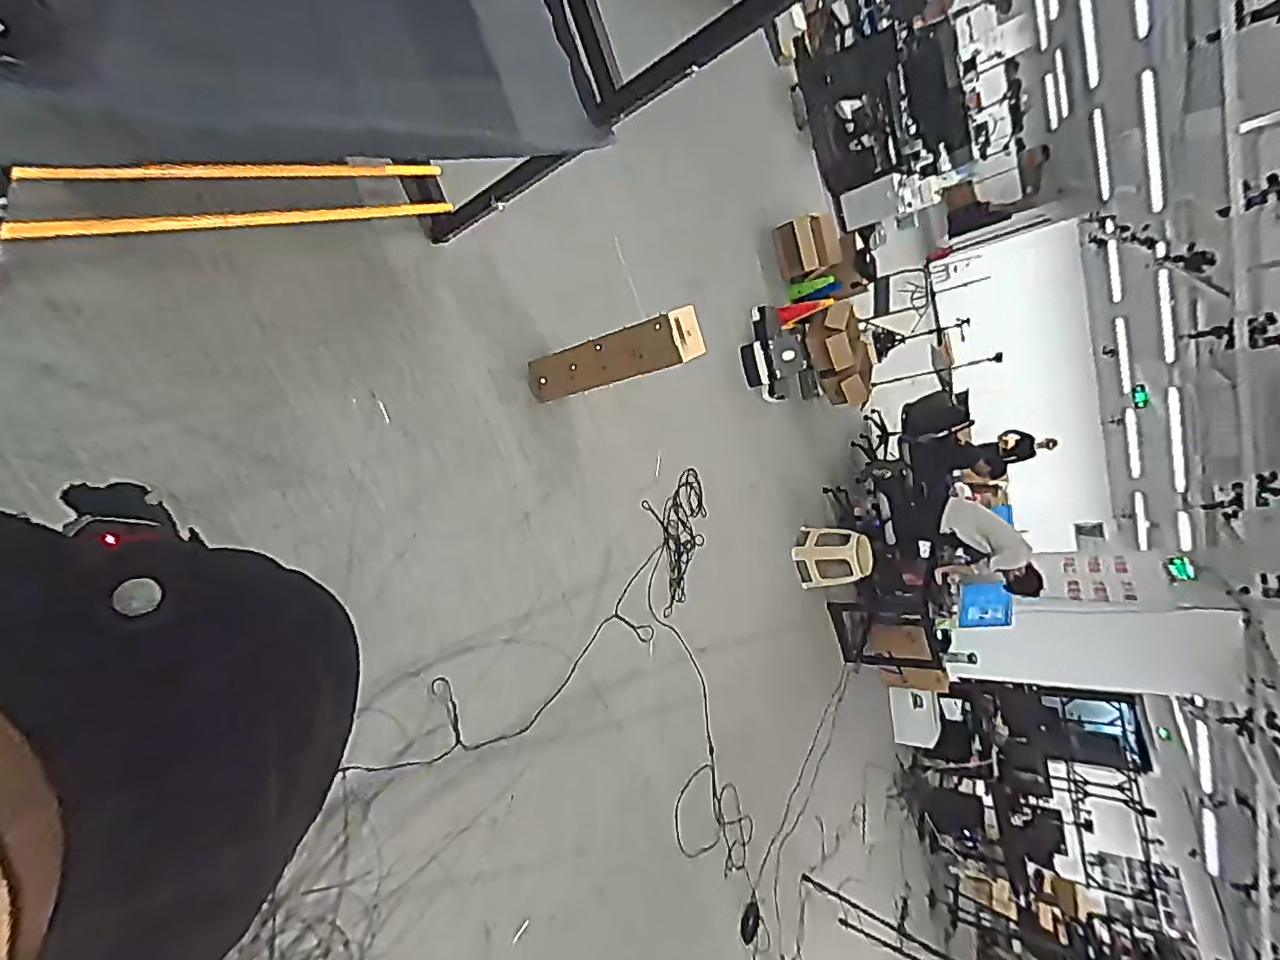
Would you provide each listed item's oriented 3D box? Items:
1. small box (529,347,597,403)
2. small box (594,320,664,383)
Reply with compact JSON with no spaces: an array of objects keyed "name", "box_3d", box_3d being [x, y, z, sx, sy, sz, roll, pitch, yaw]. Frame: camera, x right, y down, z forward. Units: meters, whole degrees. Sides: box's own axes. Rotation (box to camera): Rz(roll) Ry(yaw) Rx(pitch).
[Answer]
[{"name":"small box","box_3d":[-0.303,-0.413,2.120,0.179,0.176,0.168,-31,107,-51]},{"name":"small box","box_3d":[-0.045,-0.454,1.924,0.179,0.176,0.168,-35,111,-50]}]
